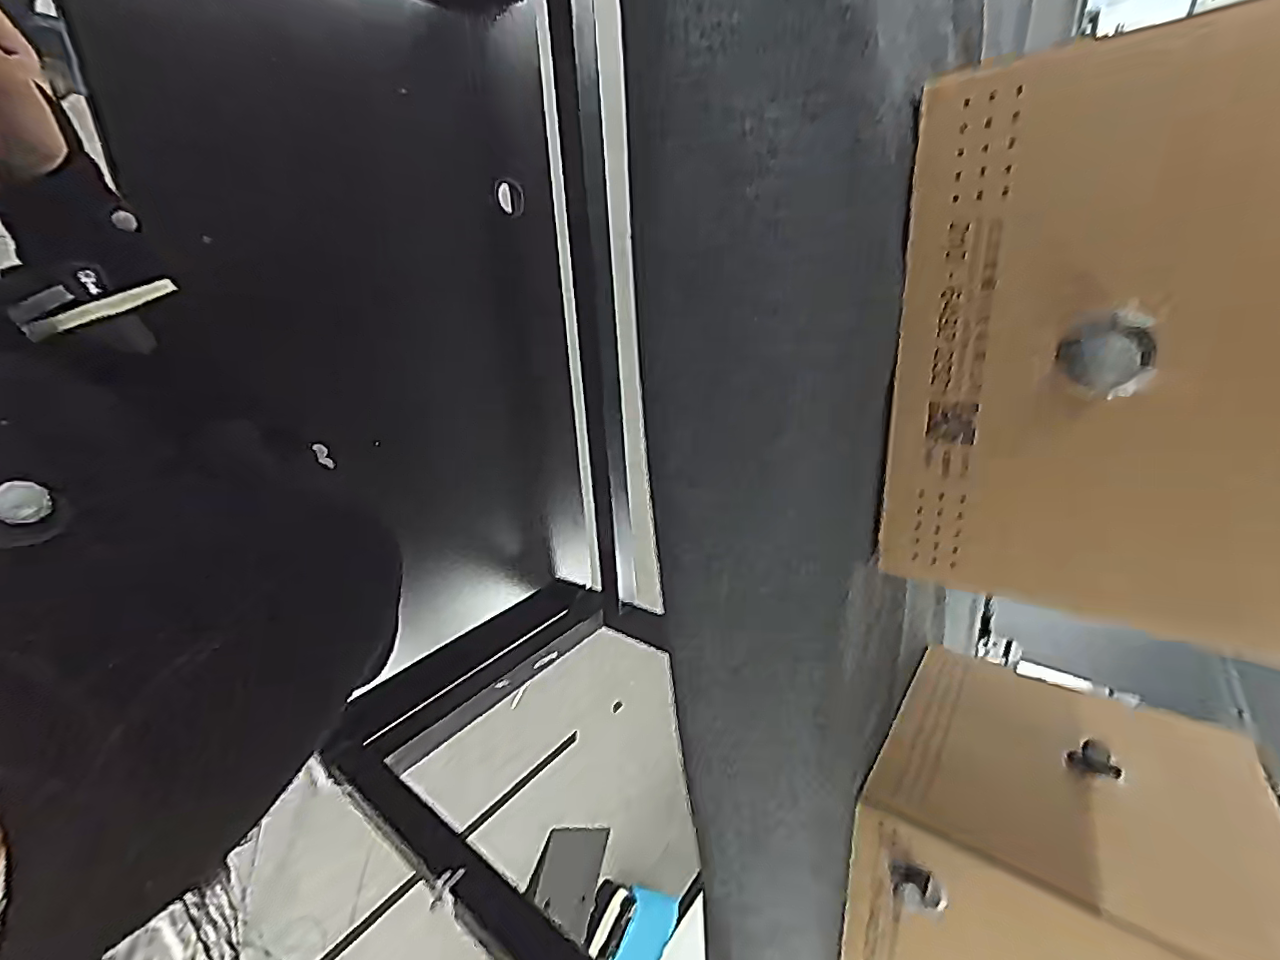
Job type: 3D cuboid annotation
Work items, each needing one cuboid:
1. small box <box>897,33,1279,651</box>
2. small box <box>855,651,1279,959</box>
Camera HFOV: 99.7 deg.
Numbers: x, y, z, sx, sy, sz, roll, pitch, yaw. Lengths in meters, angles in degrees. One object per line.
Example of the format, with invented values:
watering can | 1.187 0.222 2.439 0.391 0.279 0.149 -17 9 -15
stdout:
small box | 0.214 -0.053 0.208 0.179 0.176 0.168 -25 118 -50
small box | 0.233 0.228 0.308 0.179 0.176 0.168 -20 115 -50
